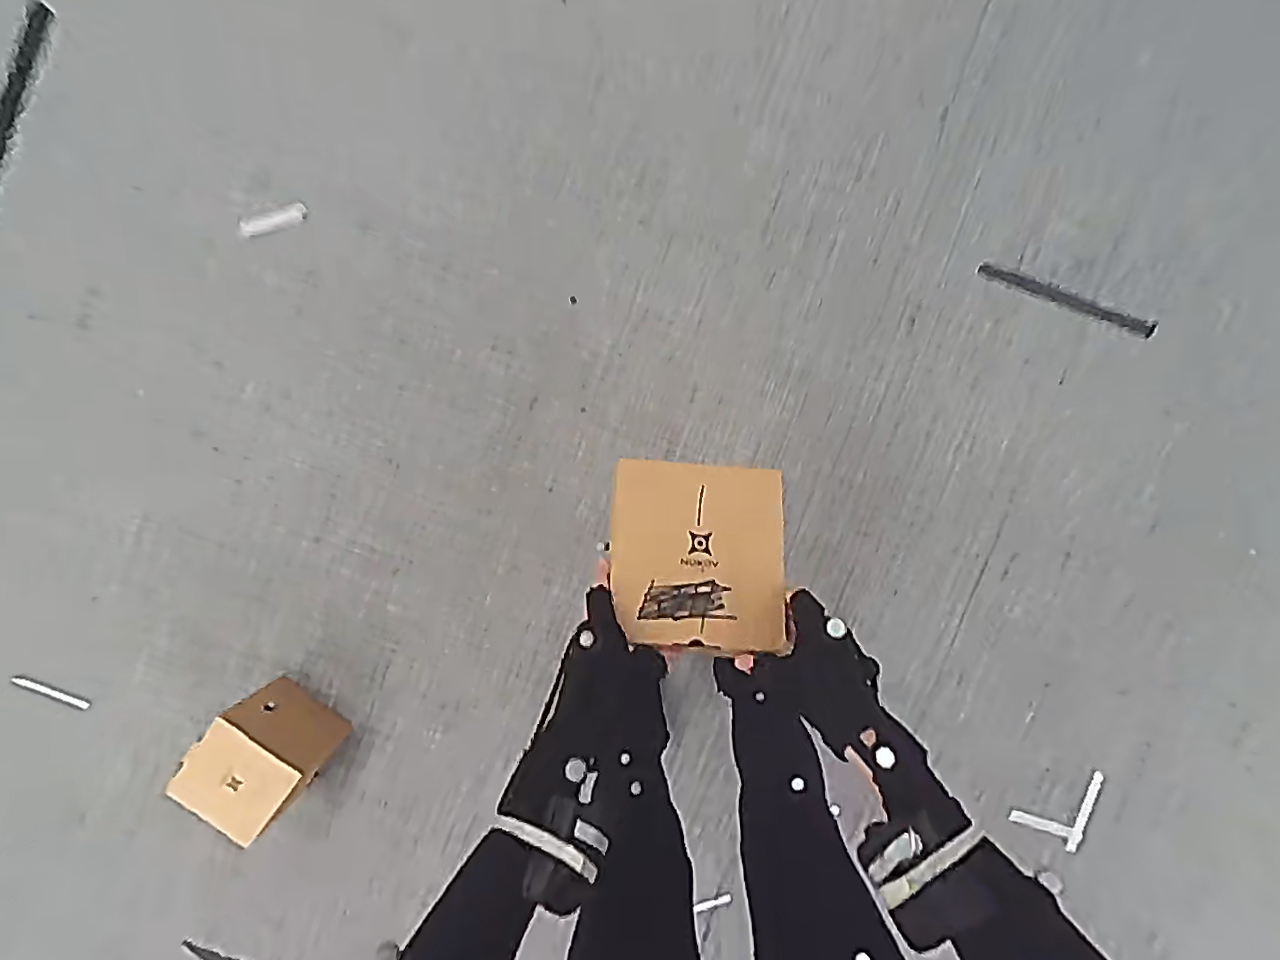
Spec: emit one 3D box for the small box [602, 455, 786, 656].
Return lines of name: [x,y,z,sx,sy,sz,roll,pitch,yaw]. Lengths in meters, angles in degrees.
small box: [0.048,0.086,0.576,0.168,0.176,0.179,5,75,-4]

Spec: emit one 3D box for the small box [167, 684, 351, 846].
small box: [-0.681,0.503,0.989,0.179,0.176,0.168,37,92,-3]
